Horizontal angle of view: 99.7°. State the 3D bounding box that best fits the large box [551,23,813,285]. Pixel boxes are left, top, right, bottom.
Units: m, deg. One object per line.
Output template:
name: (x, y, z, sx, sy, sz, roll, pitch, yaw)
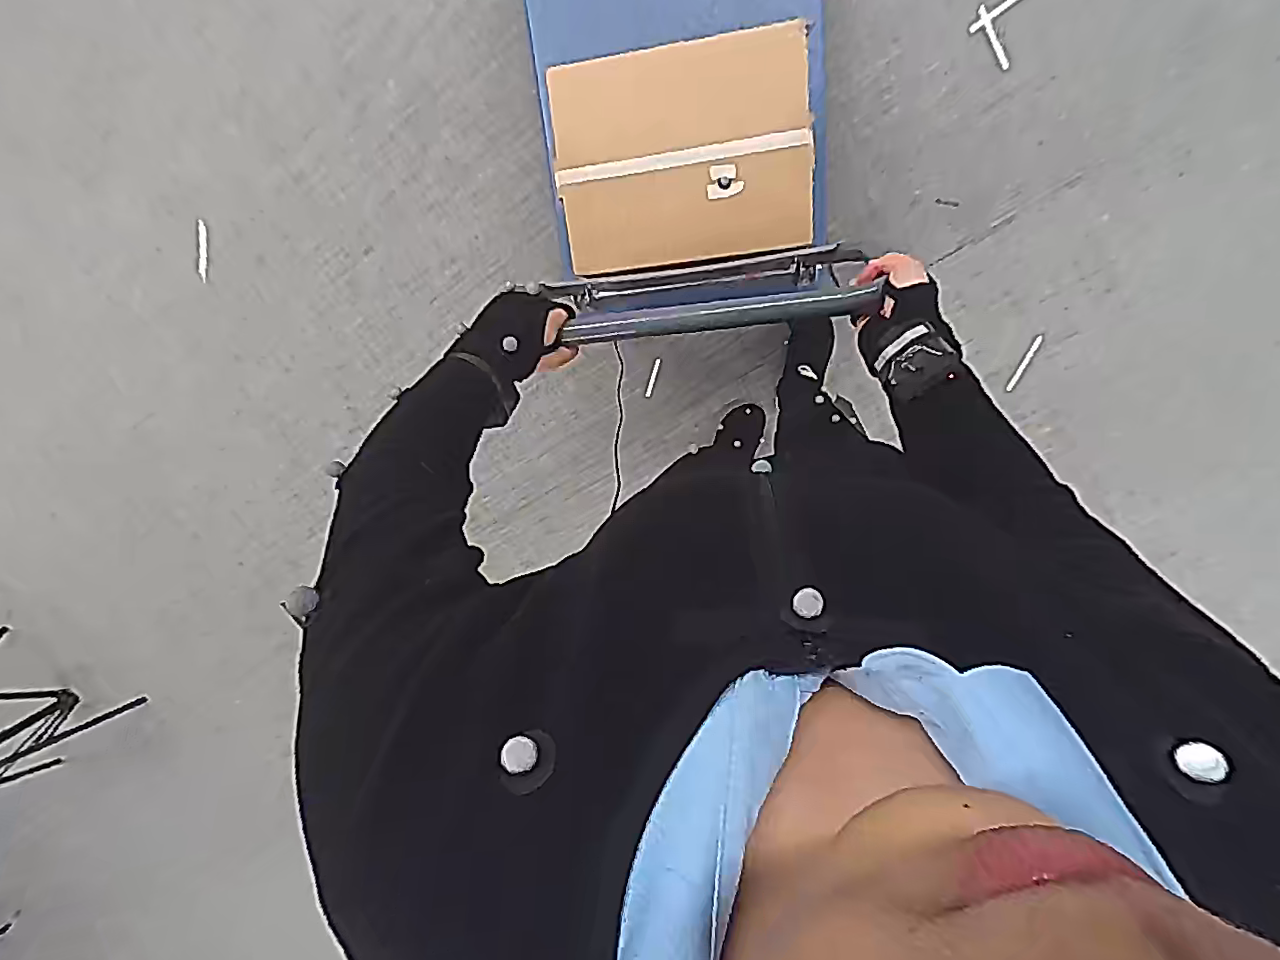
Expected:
large box: (0.085, -0.563, 1.018, 0.408, 0.320, 0.320, -5, 107, 8)
